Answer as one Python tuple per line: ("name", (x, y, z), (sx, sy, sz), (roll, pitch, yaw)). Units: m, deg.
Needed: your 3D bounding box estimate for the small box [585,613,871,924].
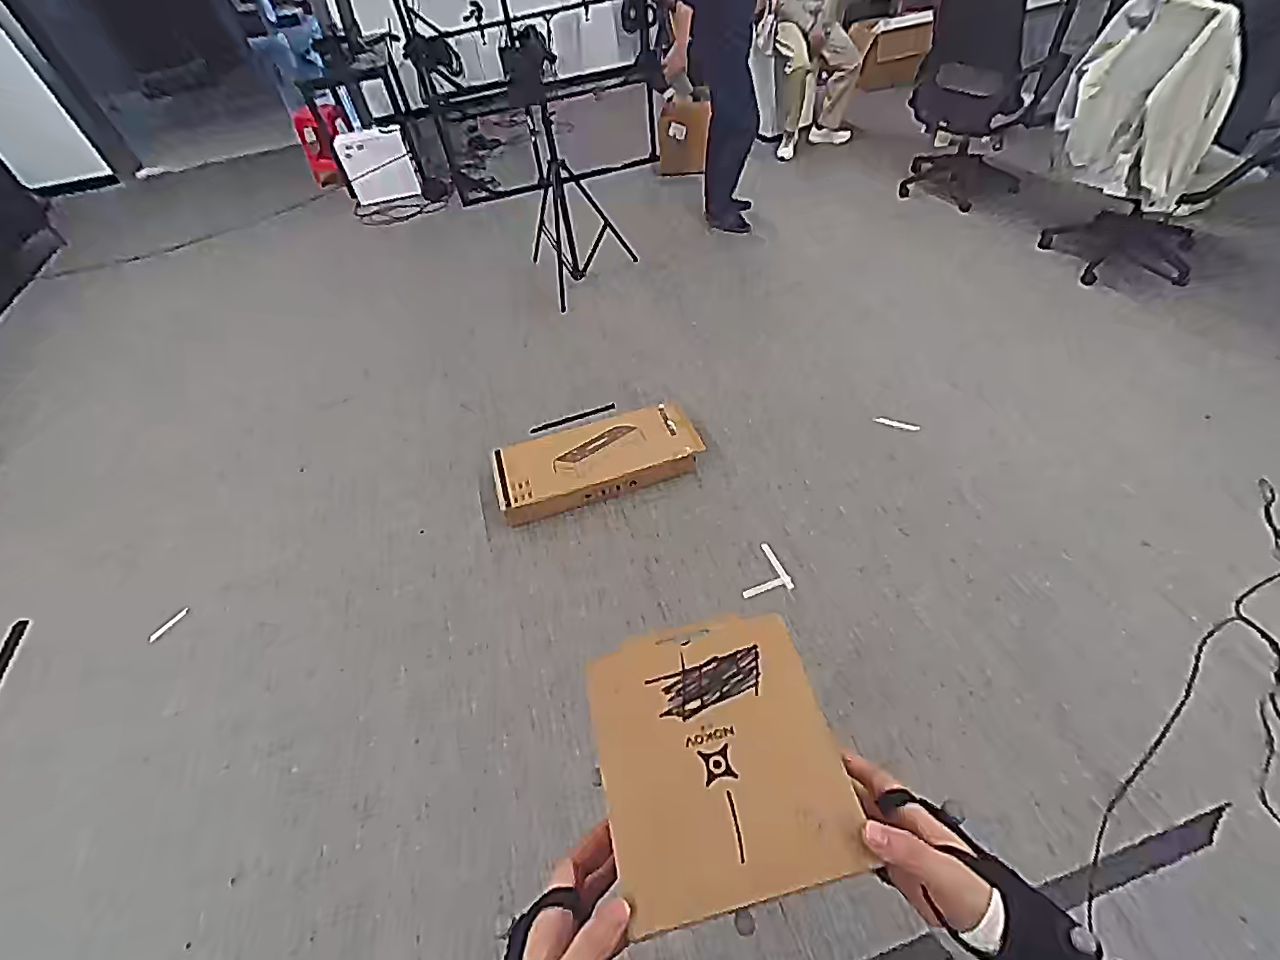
("small box", (0.058, 0.241, 0.451), (0.168, 0.176, 0.179), (-14, 52, -4))
